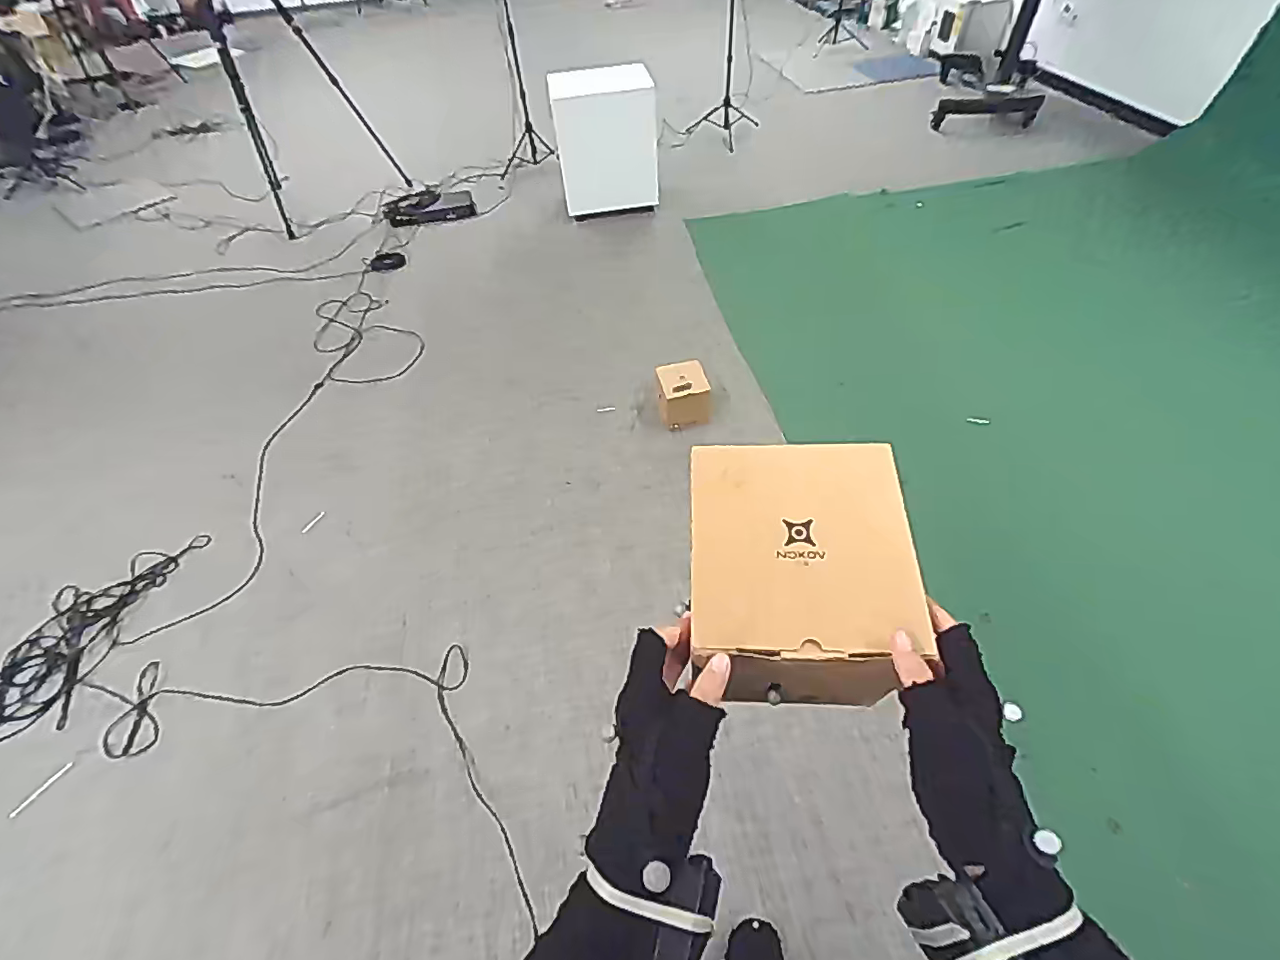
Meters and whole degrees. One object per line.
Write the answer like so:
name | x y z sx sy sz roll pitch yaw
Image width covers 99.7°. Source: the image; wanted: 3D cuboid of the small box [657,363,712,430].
small box | 0.166 -0.302 2.009 0.168 0.176 0.179 -12 51 -5
